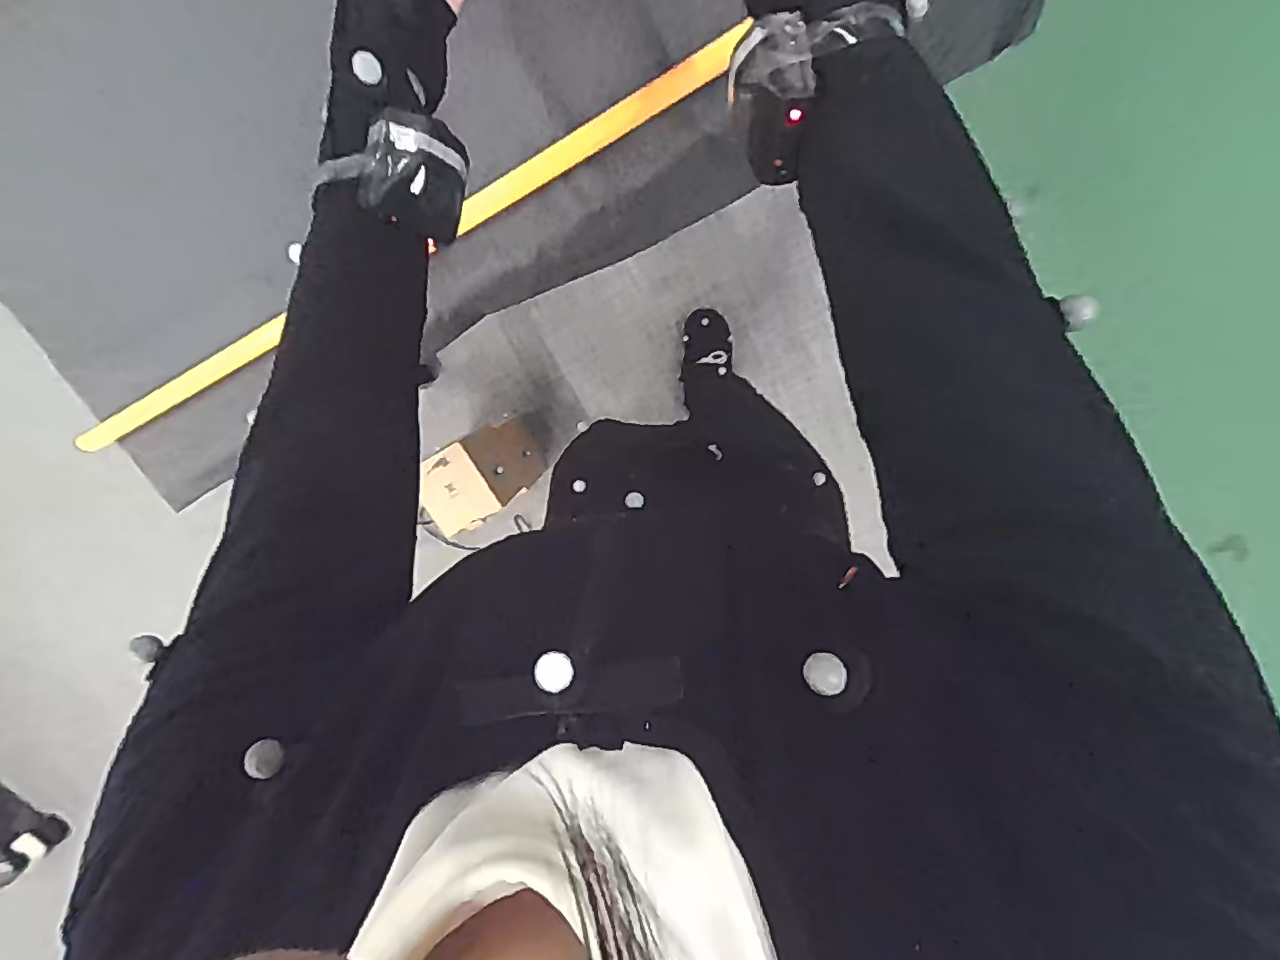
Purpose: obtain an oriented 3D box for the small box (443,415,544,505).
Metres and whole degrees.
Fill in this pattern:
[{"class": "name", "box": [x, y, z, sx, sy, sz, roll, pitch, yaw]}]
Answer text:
[{"class": "small box", "box": [-0.374, -0.061, 1.411, 0.168, 0.176, 0.179, -17, 107, 14]}]
